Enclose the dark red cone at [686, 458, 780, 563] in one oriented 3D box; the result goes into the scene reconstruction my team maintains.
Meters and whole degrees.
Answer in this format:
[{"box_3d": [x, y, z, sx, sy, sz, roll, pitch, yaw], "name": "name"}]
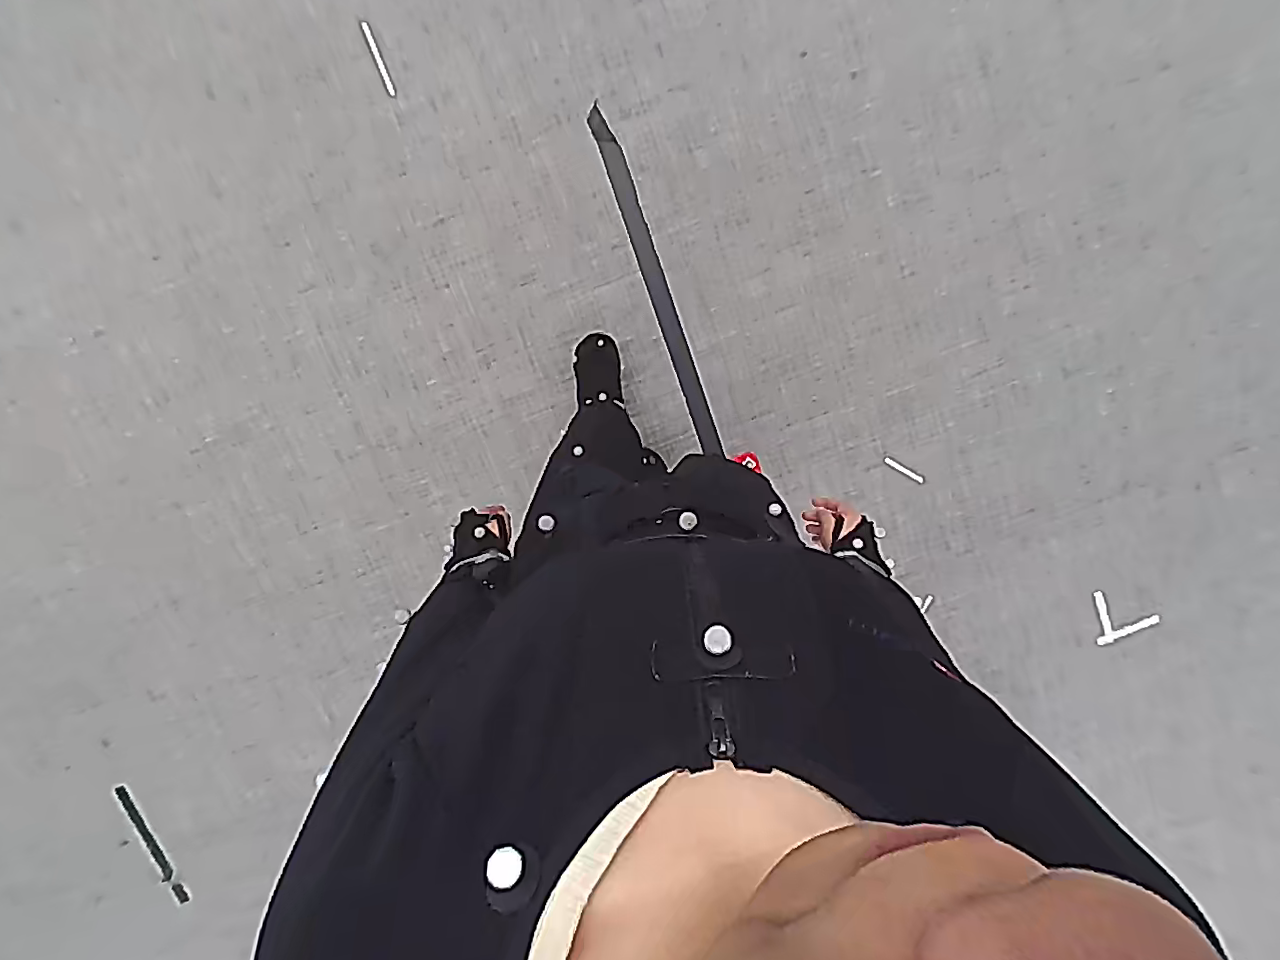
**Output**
[{"box_3d": [0.233, 0.094, 1.189, 0.201, 0.394, 0.202, -21, 101, 3], "name": "dark red cone"}]
